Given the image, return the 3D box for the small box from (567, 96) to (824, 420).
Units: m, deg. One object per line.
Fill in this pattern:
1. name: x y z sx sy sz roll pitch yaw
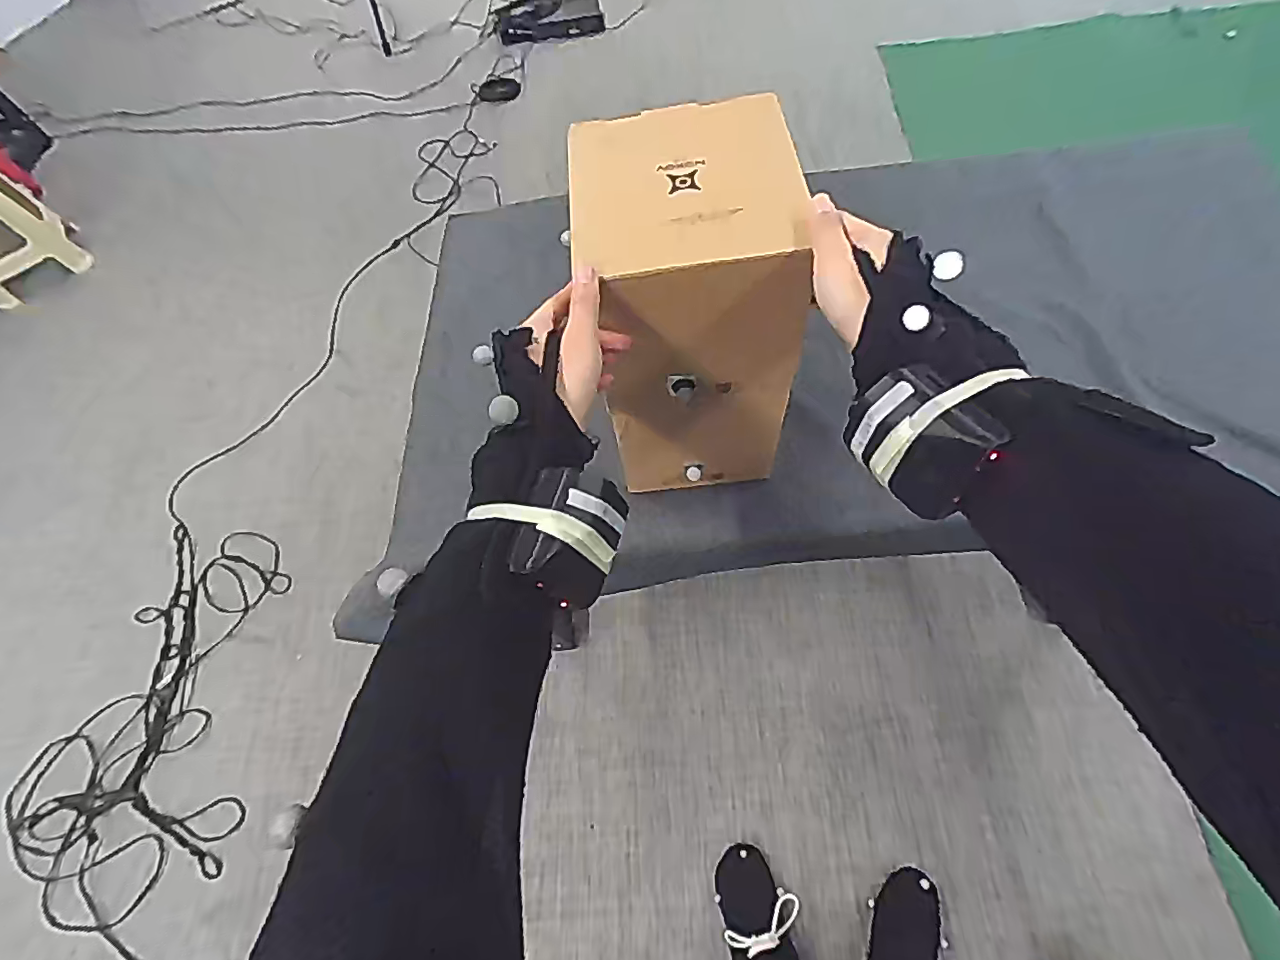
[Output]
1. small box: 0.037 -0.174 0.453 0.168 0.176 0.179 -8 64 3

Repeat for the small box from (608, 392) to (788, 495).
1. small box: 0.054 -0.102 0.598 0.168 0.176 0.179 -7 63 3
